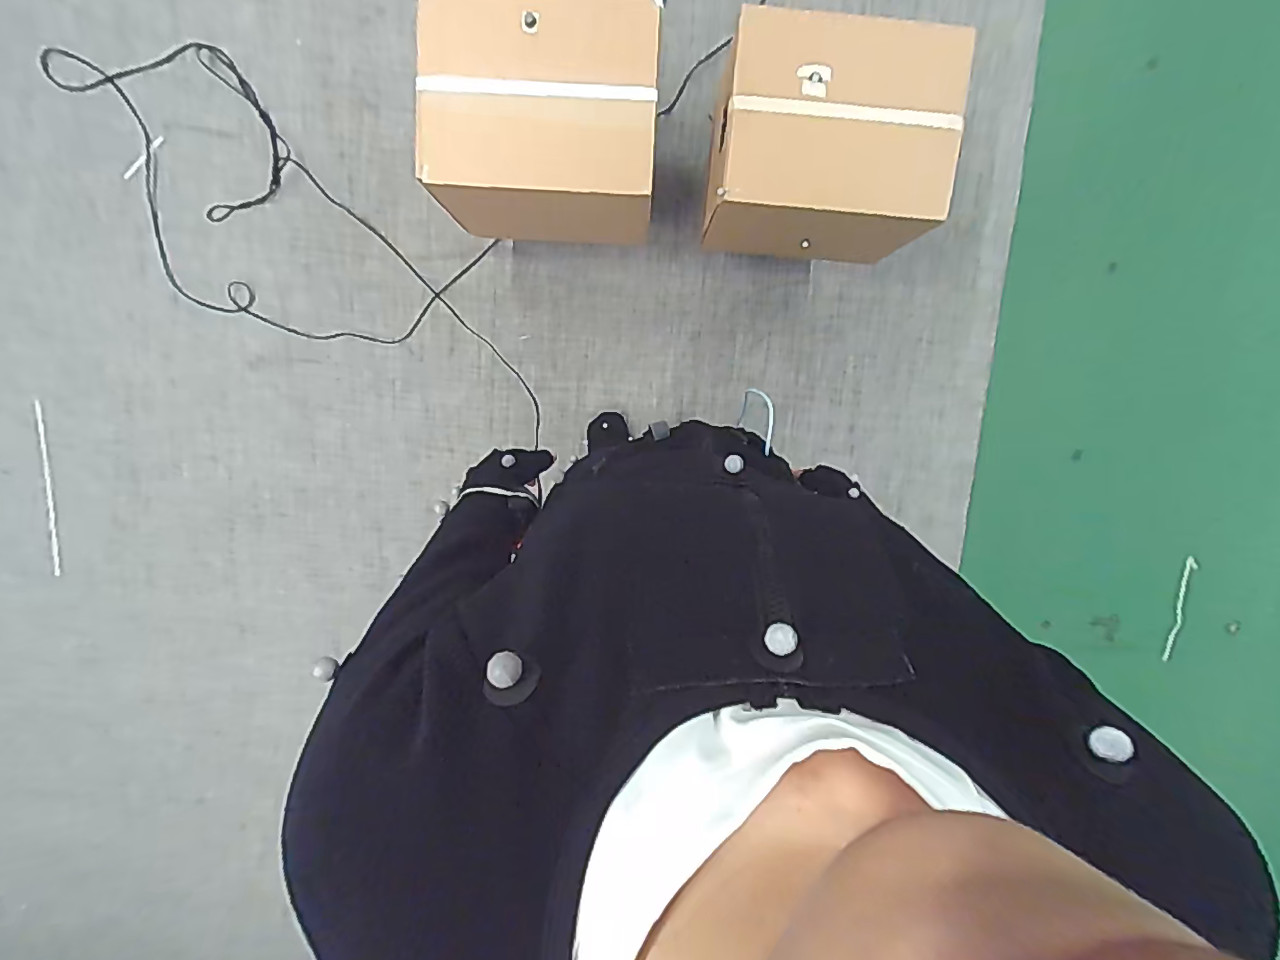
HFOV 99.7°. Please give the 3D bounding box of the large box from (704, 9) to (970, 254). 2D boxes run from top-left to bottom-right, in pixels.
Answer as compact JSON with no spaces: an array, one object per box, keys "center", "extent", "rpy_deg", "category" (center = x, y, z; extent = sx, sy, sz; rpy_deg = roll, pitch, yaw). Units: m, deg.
[{"center":[0.358,-0.660,1.088],"extent":[0.408,0.320,0.320],"rpy_deg":[5,98,-1],"category":"large box"}]
